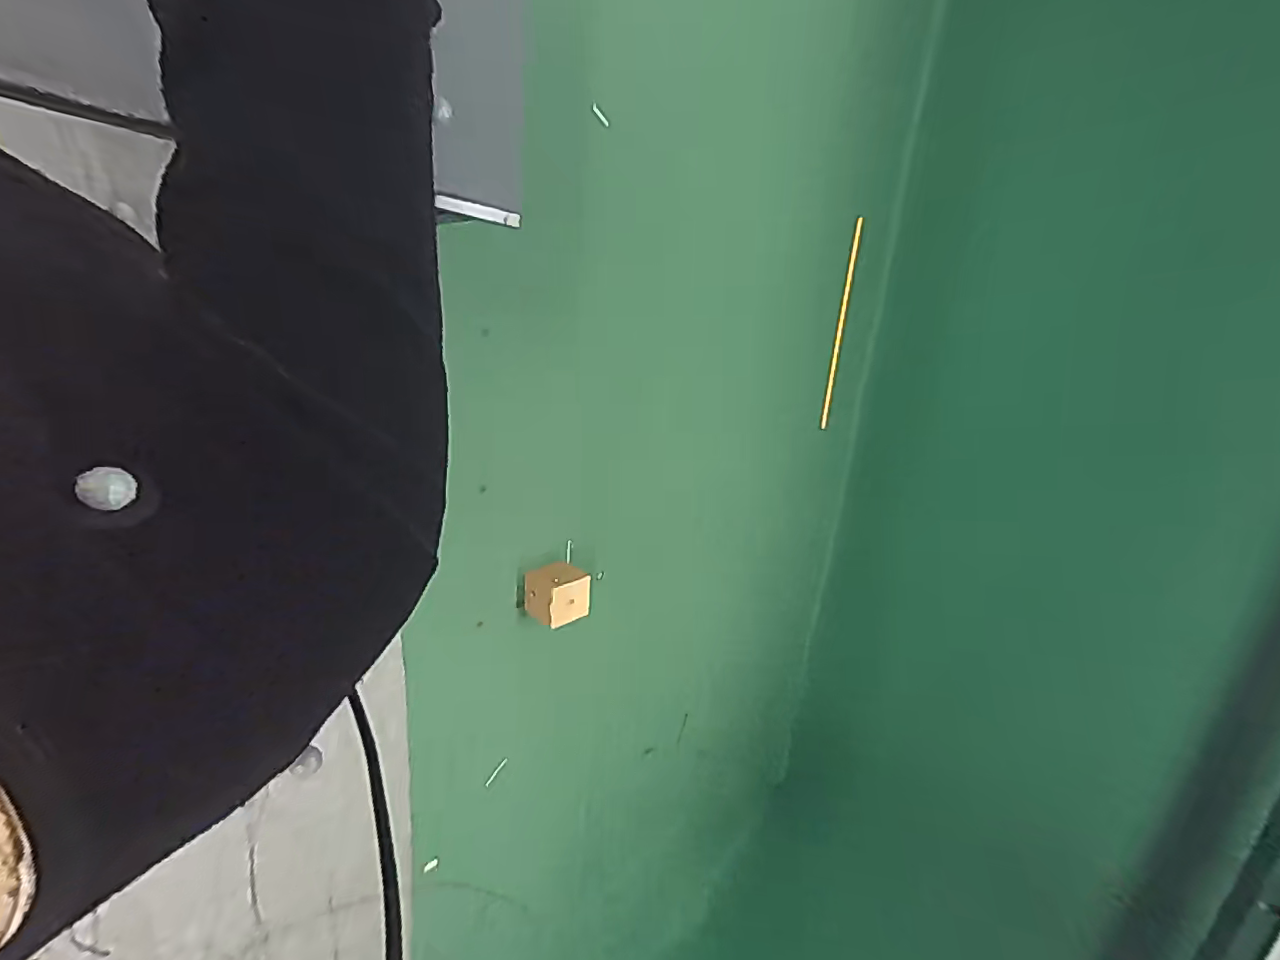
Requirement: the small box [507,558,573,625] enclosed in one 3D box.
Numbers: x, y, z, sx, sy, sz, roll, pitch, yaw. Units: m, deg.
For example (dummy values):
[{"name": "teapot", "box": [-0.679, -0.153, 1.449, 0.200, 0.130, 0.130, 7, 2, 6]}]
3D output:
[{"name": "small box", "box": [-0.375, 0.407, 2.015, 0.179, 0.176, 0.168, -12, 115, -45]}]
